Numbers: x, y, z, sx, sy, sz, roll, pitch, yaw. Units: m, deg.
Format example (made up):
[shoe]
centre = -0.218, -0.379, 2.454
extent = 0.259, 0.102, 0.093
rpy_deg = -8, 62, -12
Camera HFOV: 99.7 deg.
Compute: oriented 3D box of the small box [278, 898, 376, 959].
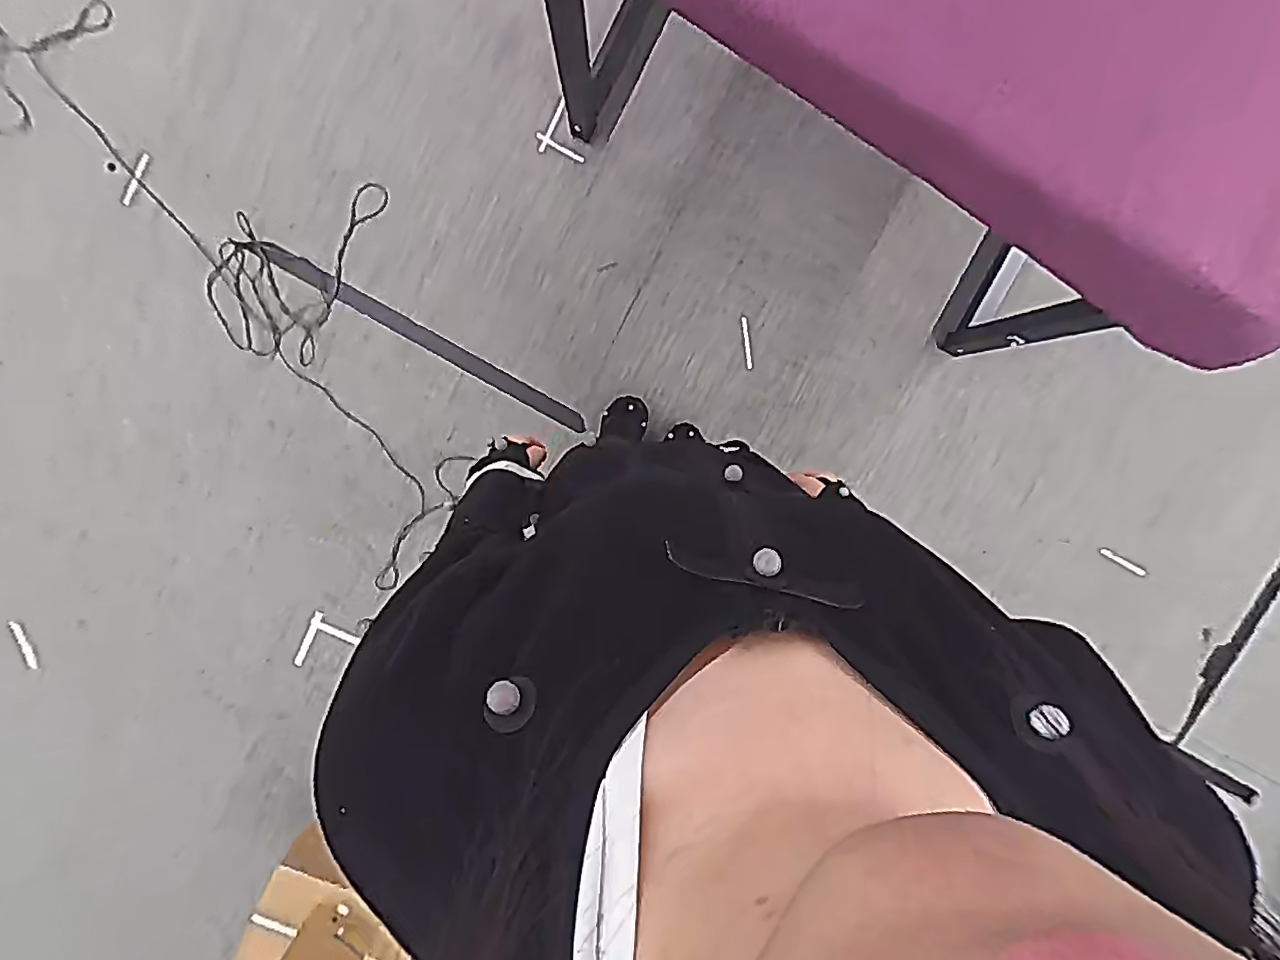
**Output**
[small box]
centre = -0.744, 1.133, 1.248
extent = 0.168, 0.176, 0.179
rpy_deg = 25, 95, -5
